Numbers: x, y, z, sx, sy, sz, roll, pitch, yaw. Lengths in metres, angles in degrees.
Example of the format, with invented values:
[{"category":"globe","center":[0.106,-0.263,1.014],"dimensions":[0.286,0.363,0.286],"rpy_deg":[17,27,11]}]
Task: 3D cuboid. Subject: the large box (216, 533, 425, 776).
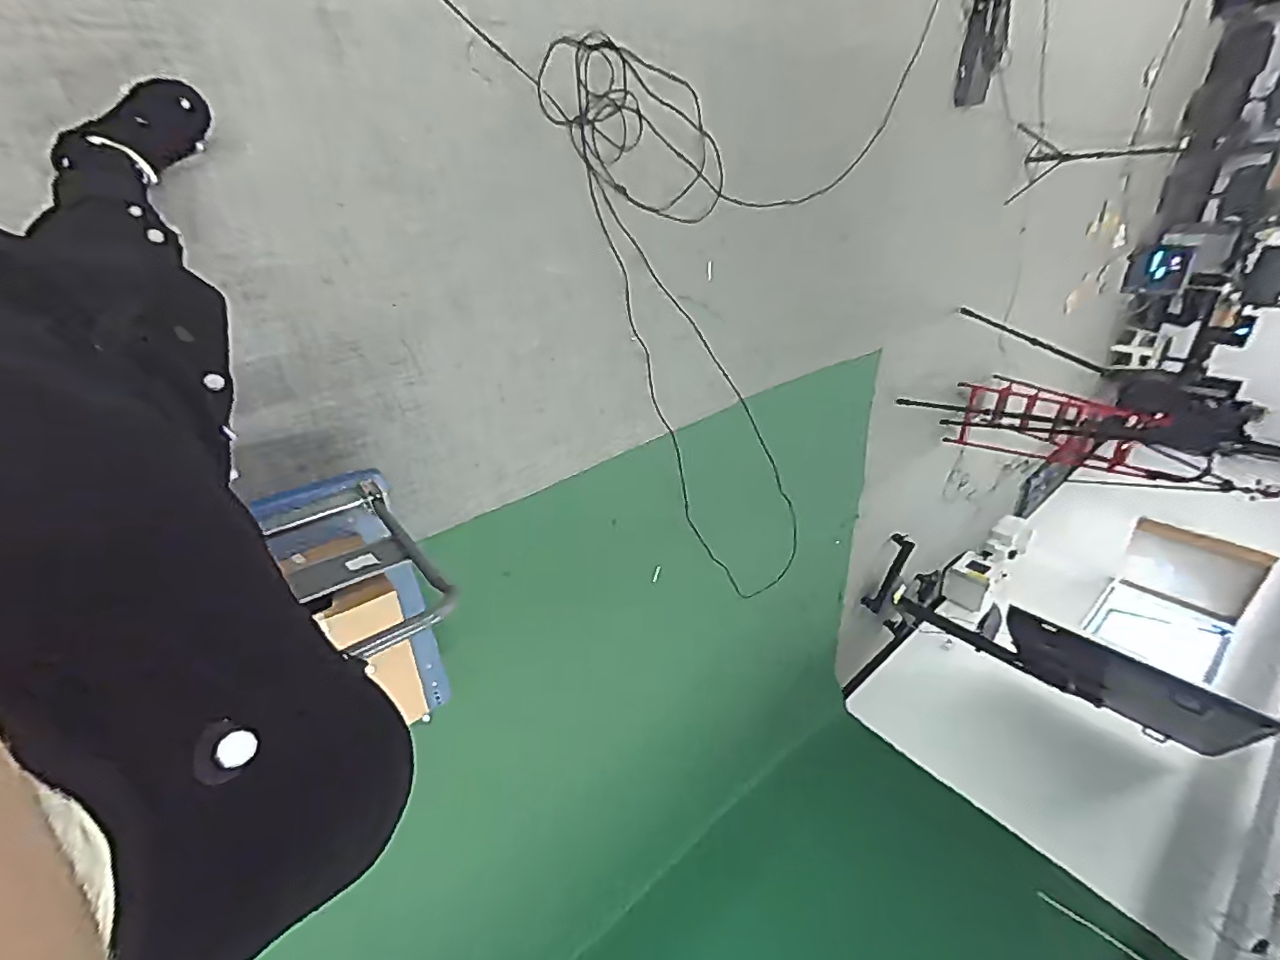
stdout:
[{"category":"large box","center":[-0.774,0.405,1.328],"dimensions":[0.320,0.320,0.408],"rpy_deg":[-20,124,-34]}]
